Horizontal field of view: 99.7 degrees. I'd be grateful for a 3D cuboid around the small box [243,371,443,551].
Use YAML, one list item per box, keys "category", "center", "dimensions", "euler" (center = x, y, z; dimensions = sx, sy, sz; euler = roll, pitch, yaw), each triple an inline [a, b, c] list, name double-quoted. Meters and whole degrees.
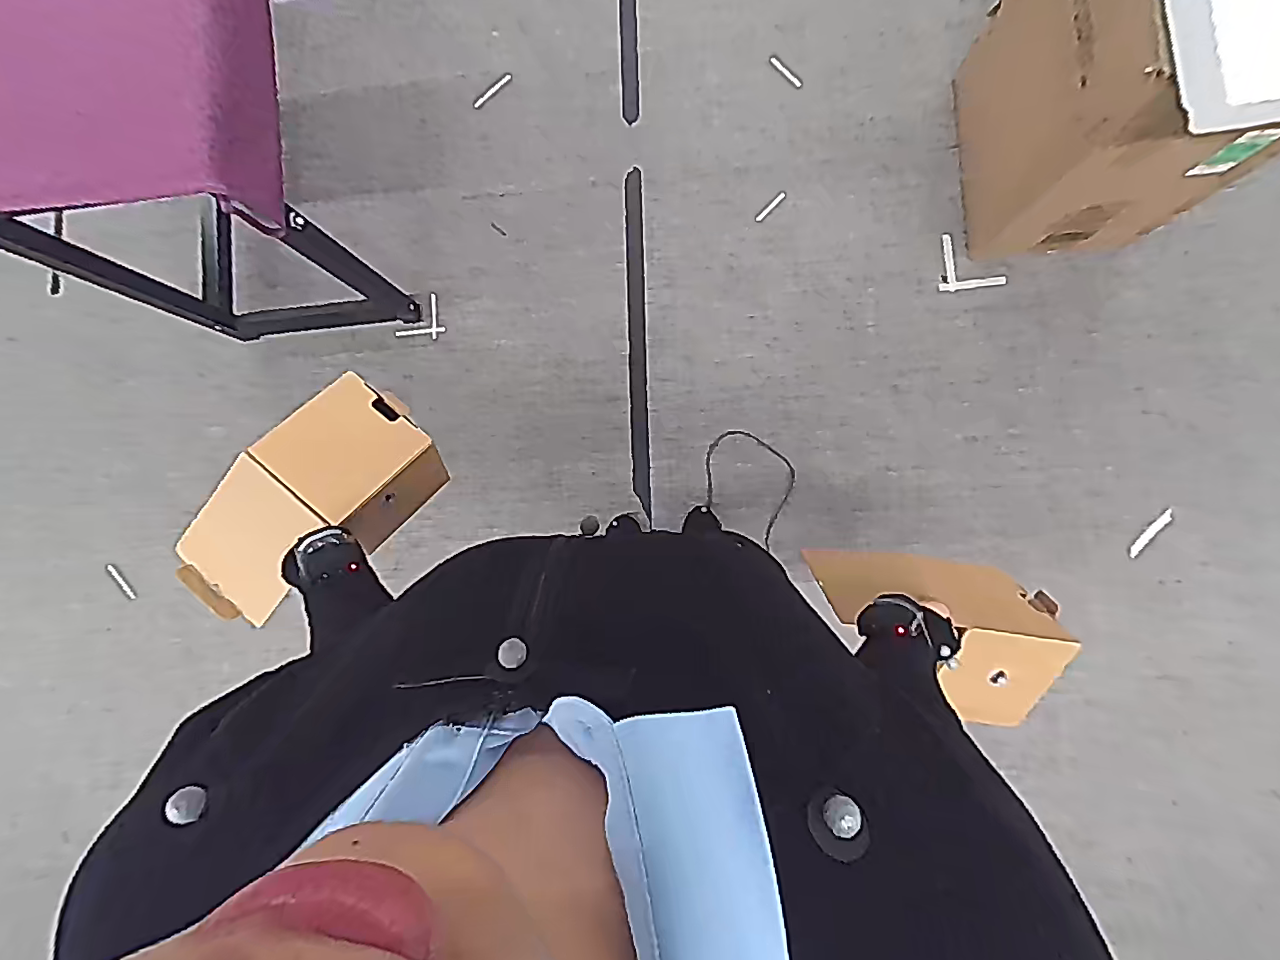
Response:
- category: "small box"
  center: [-0.418, -0.019, 0.801]
  dimensions: [0.168, 0.176, 0.179]
  euler: [40, 68, 4]
